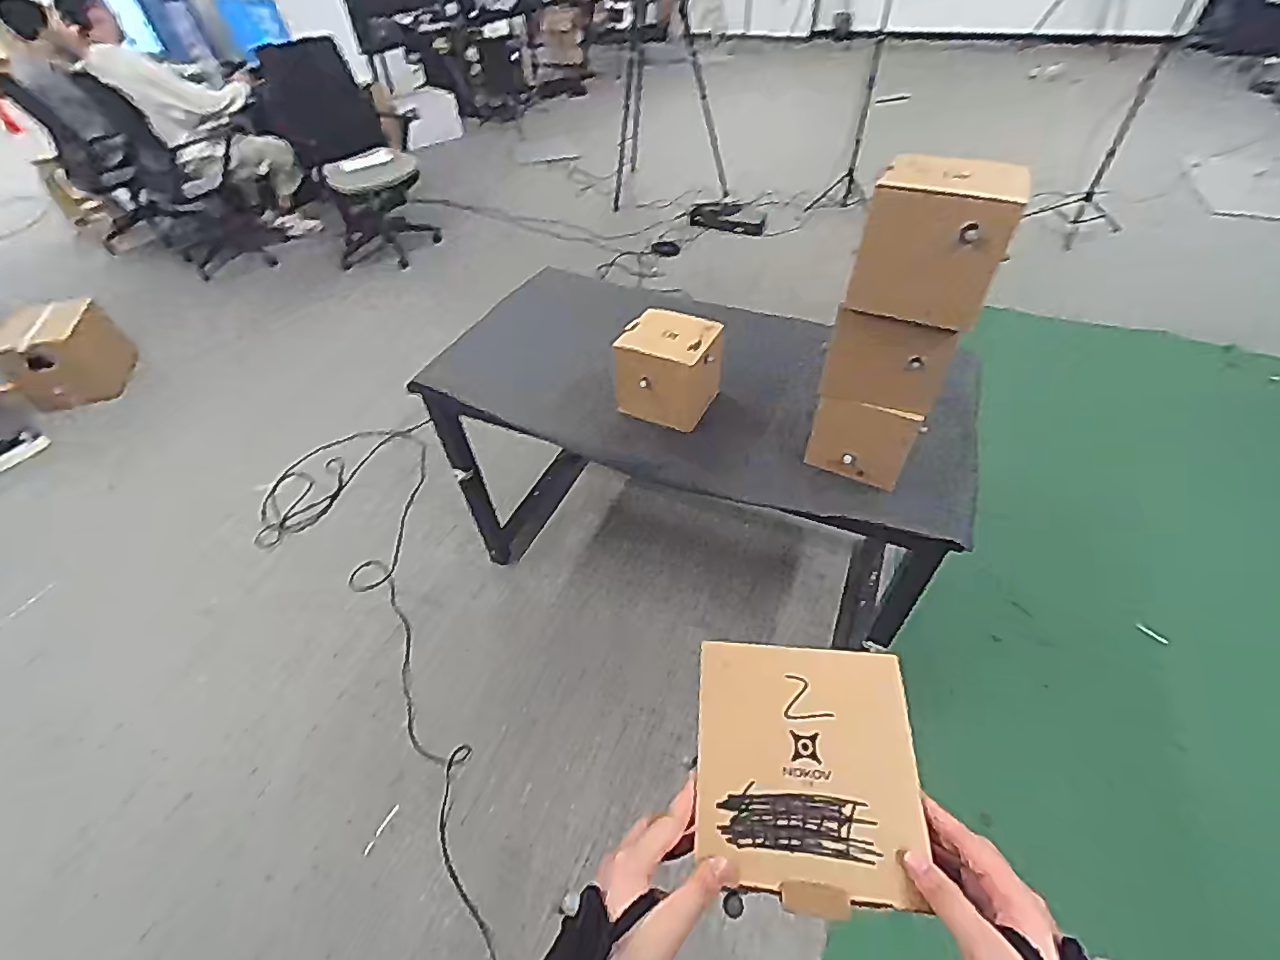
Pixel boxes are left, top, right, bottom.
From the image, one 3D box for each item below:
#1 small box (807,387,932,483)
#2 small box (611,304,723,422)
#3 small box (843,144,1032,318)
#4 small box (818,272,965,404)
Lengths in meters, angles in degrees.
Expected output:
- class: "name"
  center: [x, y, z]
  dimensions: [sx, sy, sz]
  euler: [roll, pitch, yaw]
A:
- class: "small box"
  center: [0.423, -0.128, 0.996]
  dimensions: [0.168, 0.176, 0.179]
  euler: [22, 51, 23]
- class: "small box"
  center: [0.060, -0.243, 1.131]
  dimensions: [0.179, 0.176, 0.168]
  euler: [19, 50, 21]
- class: "small box"
  center: [0.405, -0.344, 0.751]
  dimensions: [0.179, 0.176, 0.168]
  euler: [19, 48, 21]
- class: "small box"
  center: [0.408, -0.245, 0.885]
  dimensions: [0.179, 0.176, 0.168]
  euler: [15, 46, 19]
